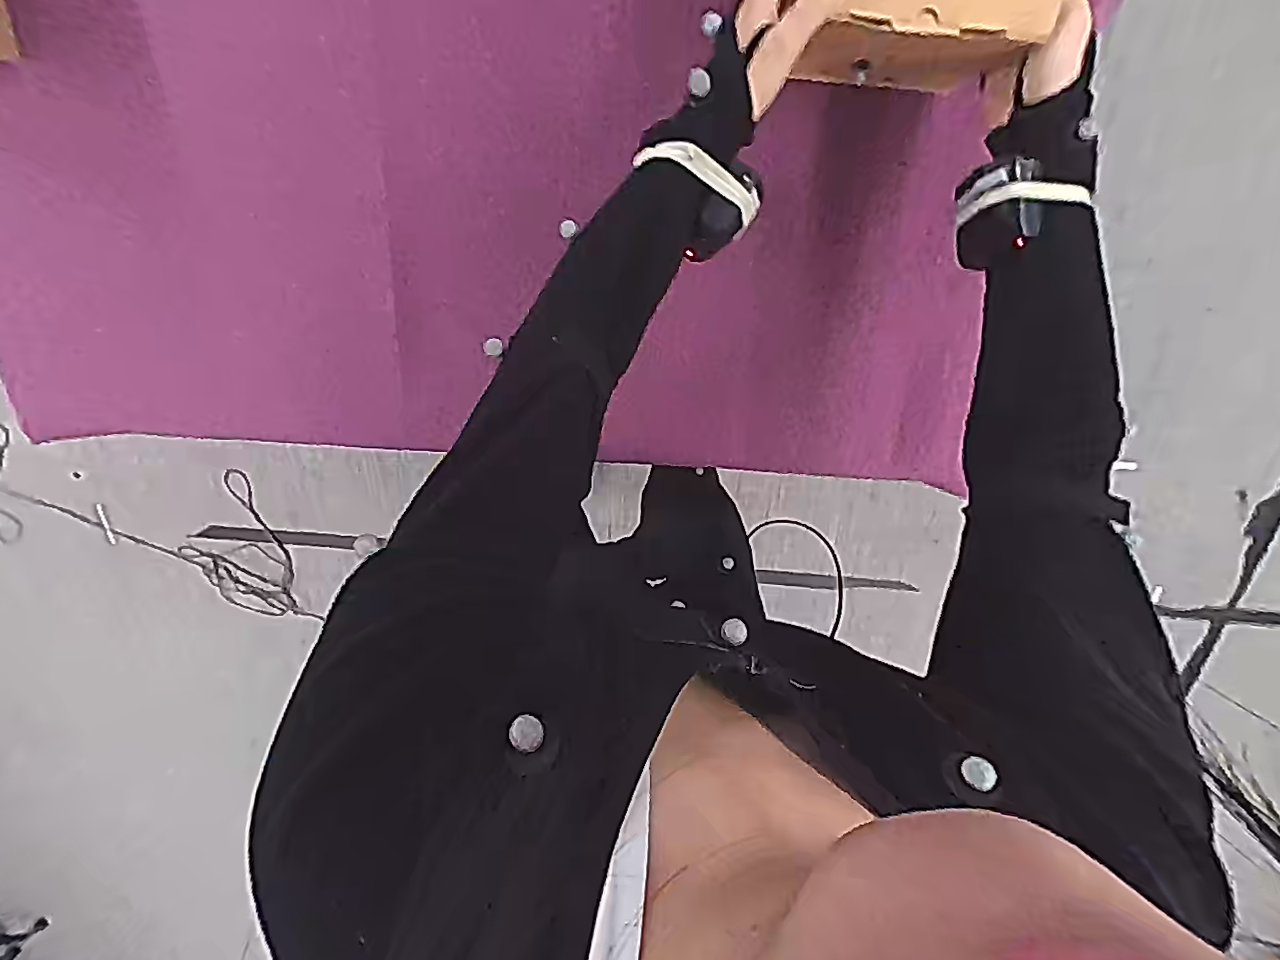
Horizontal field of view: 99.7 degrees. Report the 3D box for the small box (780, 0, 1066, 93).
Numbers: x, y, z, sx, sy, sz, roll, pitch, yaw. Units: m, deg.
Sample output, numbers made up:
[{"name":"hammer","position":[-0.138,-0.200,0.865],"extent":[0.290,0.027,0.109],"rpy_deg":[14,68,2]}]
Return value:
[{"name":"small box","position":[0.209,-0.414,0.396],"extent":[0.168,0.176,0.179],"rpy_deg":[8,117,1]}]
